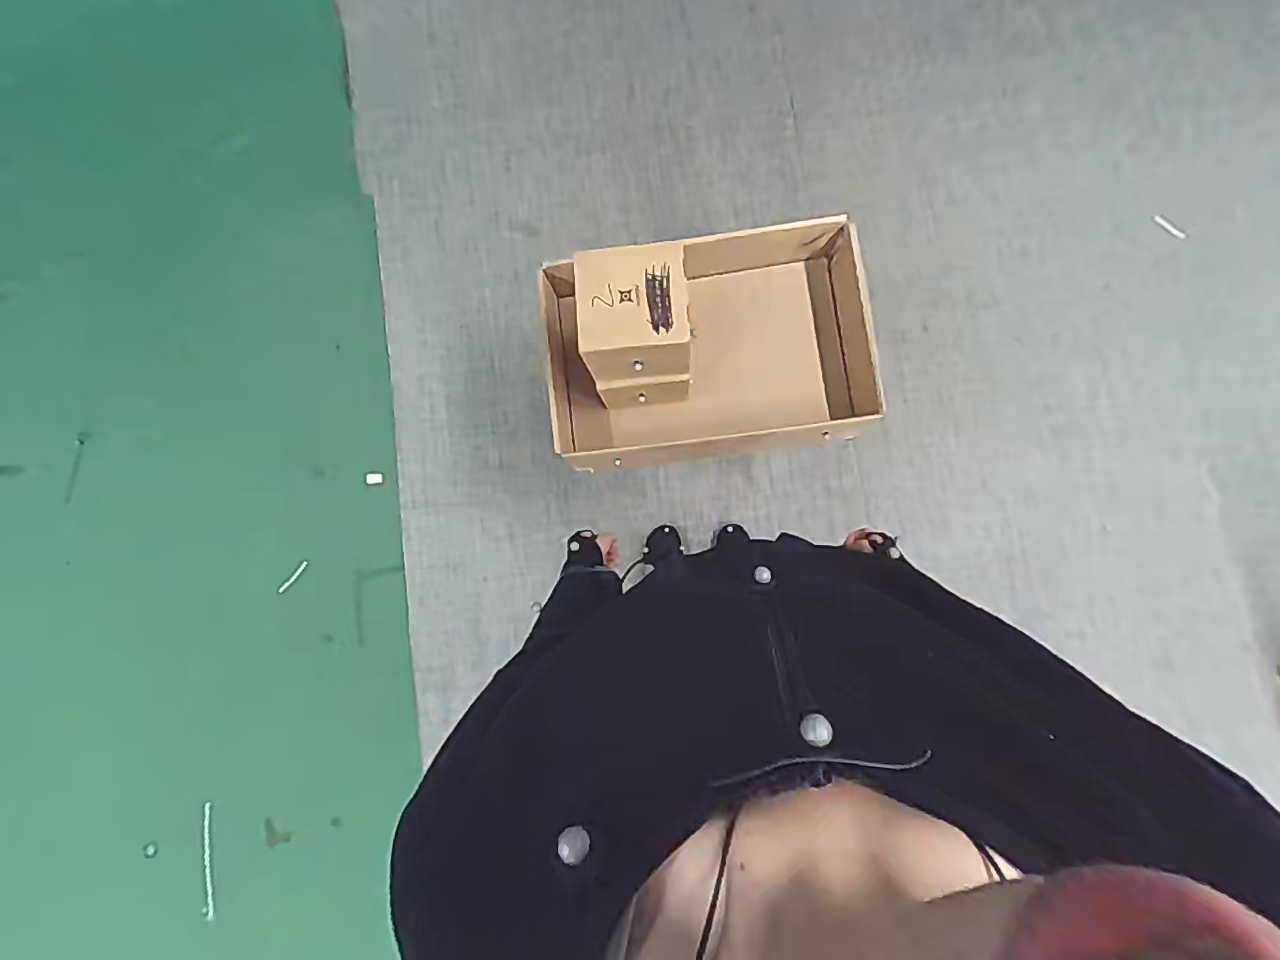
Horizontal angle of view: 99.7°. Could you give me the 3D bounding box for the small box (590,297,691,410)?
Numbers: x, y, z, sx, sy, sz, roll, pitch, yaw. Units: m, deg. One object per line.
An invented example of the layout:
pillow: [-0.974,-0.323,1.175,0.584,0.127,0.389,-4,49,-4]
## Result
small box: [0.005,-0.242,1.071,0.179,0.176,0.168,-6,83,5]
